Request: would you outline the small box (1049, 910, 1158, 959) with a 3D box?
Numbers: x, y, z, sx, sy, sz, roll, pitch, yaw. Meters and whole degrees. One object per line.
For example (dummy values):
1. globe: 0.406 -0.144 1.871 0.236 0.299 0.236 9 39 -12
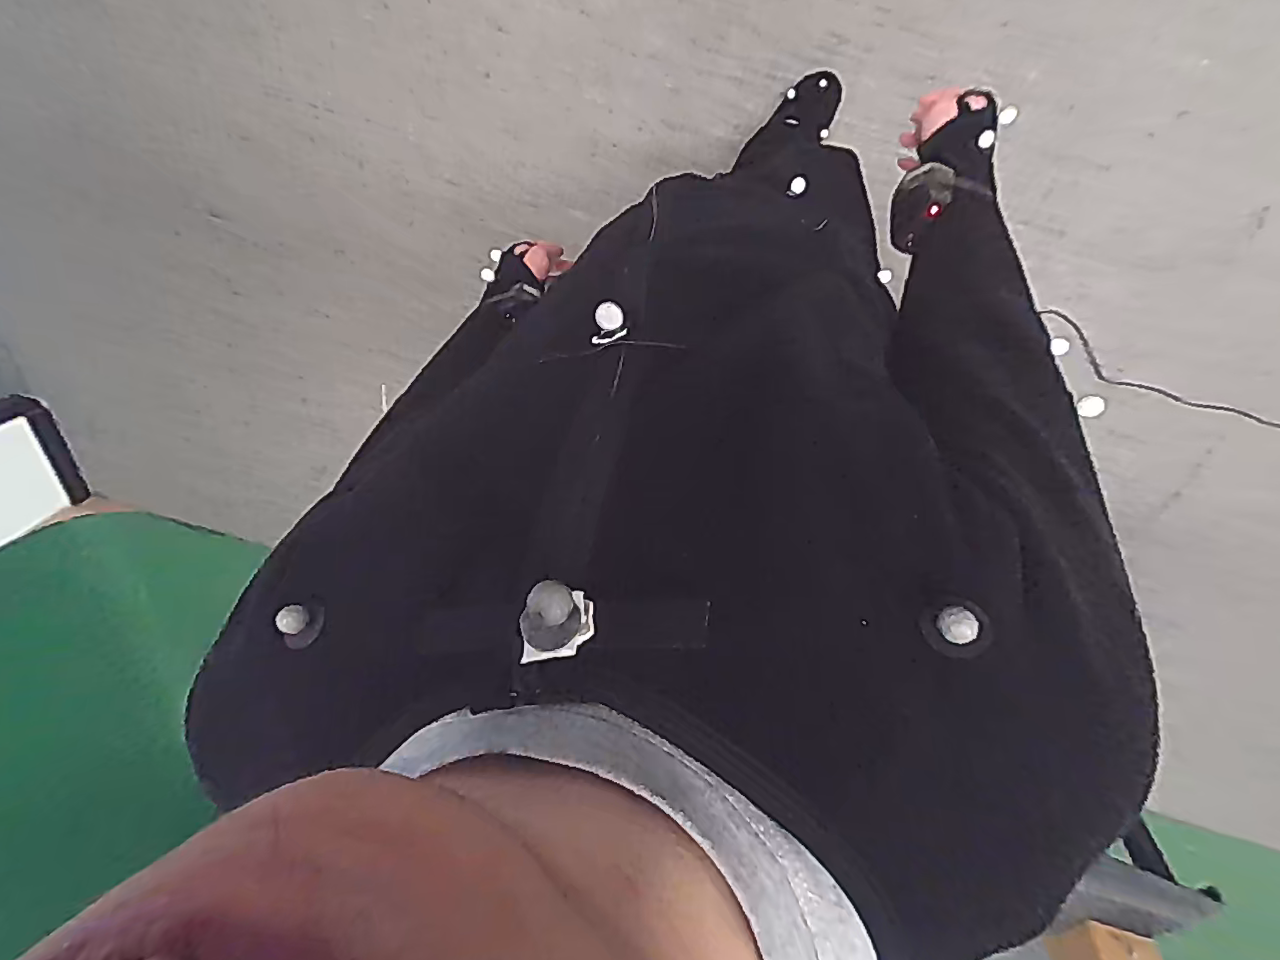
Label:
1. small box: 1.183 1.233 1.365 0.168 0.176 0.179 15 126 3
